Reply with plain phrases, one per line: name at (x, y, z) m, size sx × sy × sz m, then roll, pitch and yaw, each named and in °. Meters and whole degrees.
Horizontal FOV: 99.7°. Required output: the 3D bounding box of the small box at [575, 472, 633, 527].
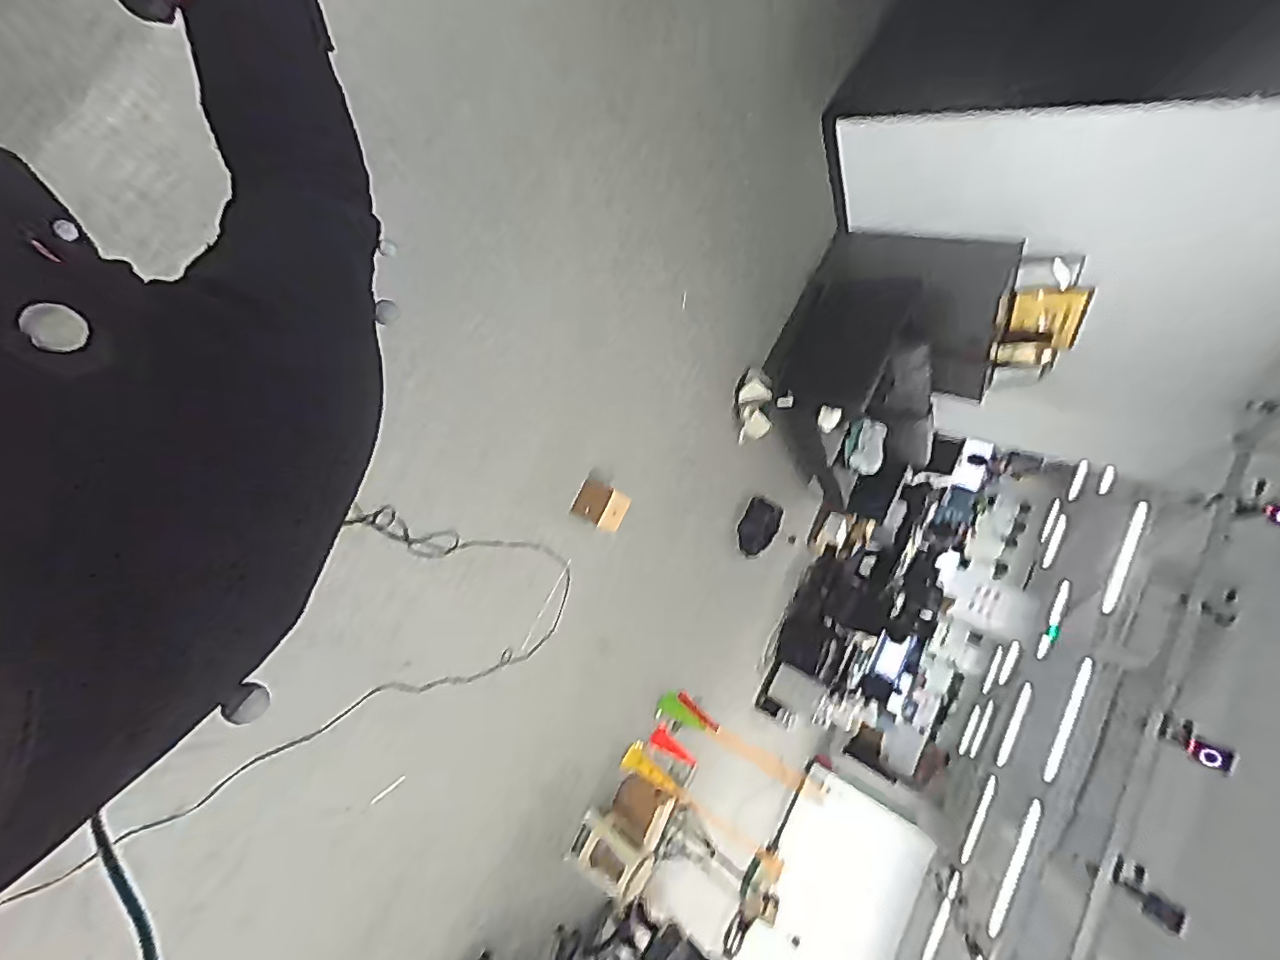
small box at (-0.169, 0.086, 2.438) m, size 0.168 × 0.176 × 0.179 m, roll 34°, pitch 80°, yaw -57°
